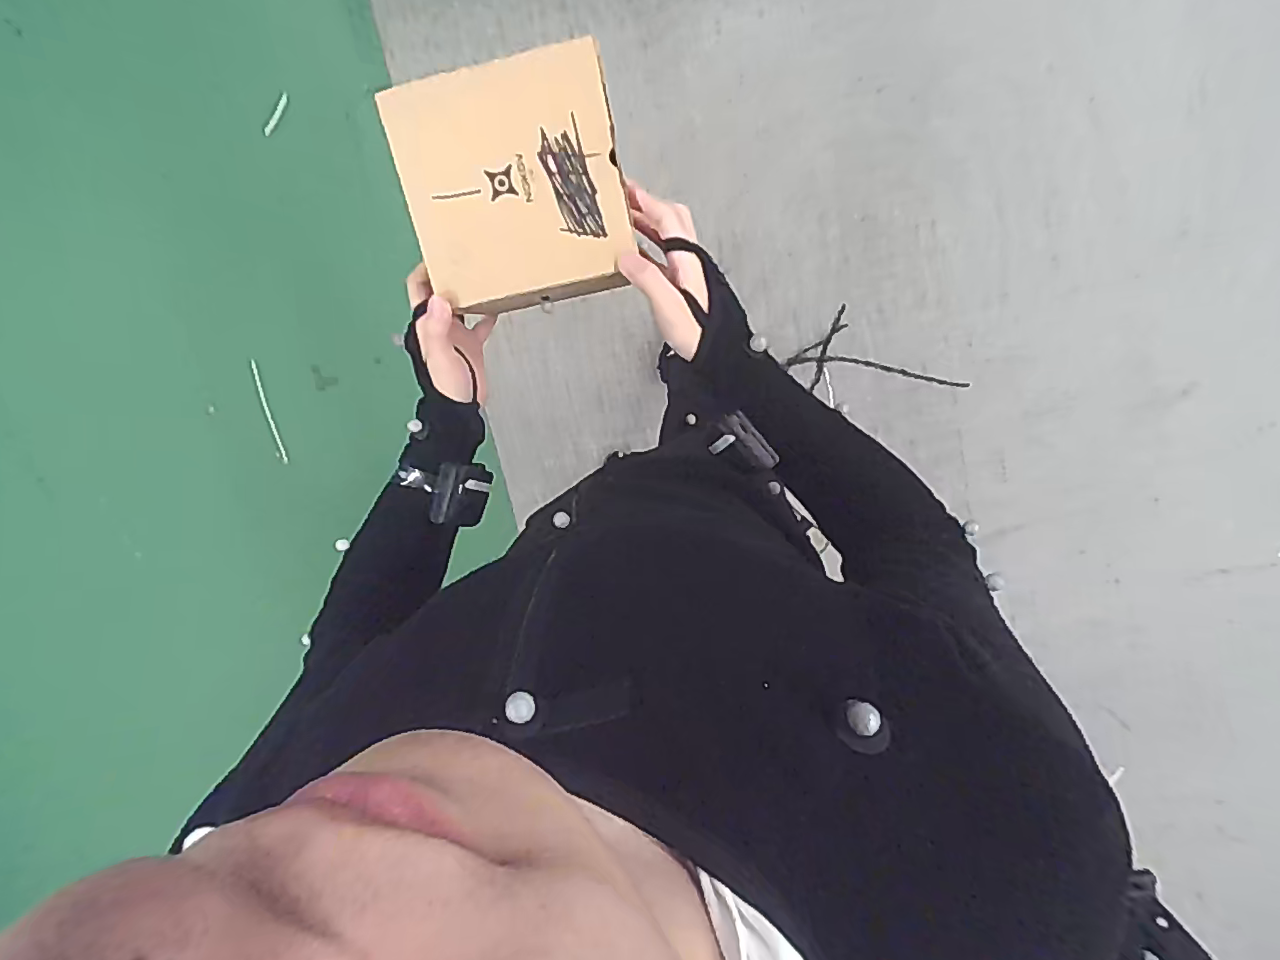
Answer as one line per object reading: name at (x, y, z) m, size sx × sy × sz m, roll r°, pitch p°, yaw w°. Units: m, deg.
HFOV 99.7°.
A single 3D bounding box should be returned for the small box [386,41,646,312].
small box at (-0.094, -0.258, 0.504) m, size 0.179 × 0.176 × 0.168 m, roll -11°, pitch 105°, yaw 4°
